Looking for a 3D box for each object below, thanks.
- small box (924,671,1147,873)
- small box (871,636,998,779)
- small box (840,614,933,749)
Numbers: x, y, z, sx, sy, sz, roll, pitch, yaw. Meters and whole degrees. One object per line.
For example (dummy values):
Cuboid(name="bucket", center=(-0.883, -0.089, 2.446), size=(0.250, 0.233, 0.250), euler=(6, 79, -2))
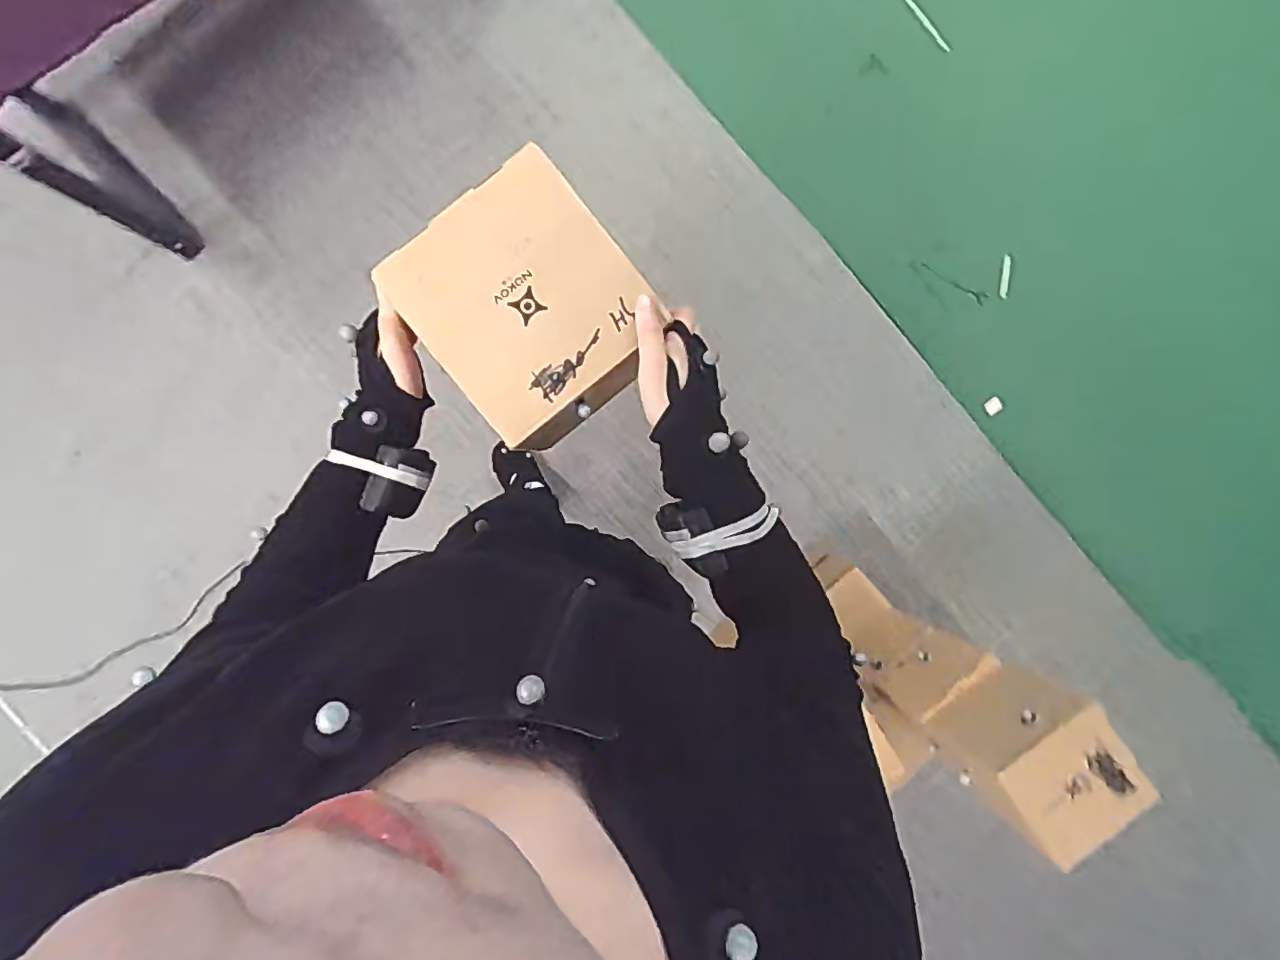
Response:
Cuboid(name="small box", center=(0.579, 0.422, 0.817), size=(0.179, 0.176, 0.168), euler=(-34, 92, -2))
Cuboid(name="small box", center=(0.564, 0.414, 0.981), size=(0.168, 0.176, 0.179), euler=(-39, 92, -2))
Cuboid(name="small box", center=(0.553, 0.415, 1.143), size=(0.179, 0.176, 0.168), euler=(-41, 94, -2))
